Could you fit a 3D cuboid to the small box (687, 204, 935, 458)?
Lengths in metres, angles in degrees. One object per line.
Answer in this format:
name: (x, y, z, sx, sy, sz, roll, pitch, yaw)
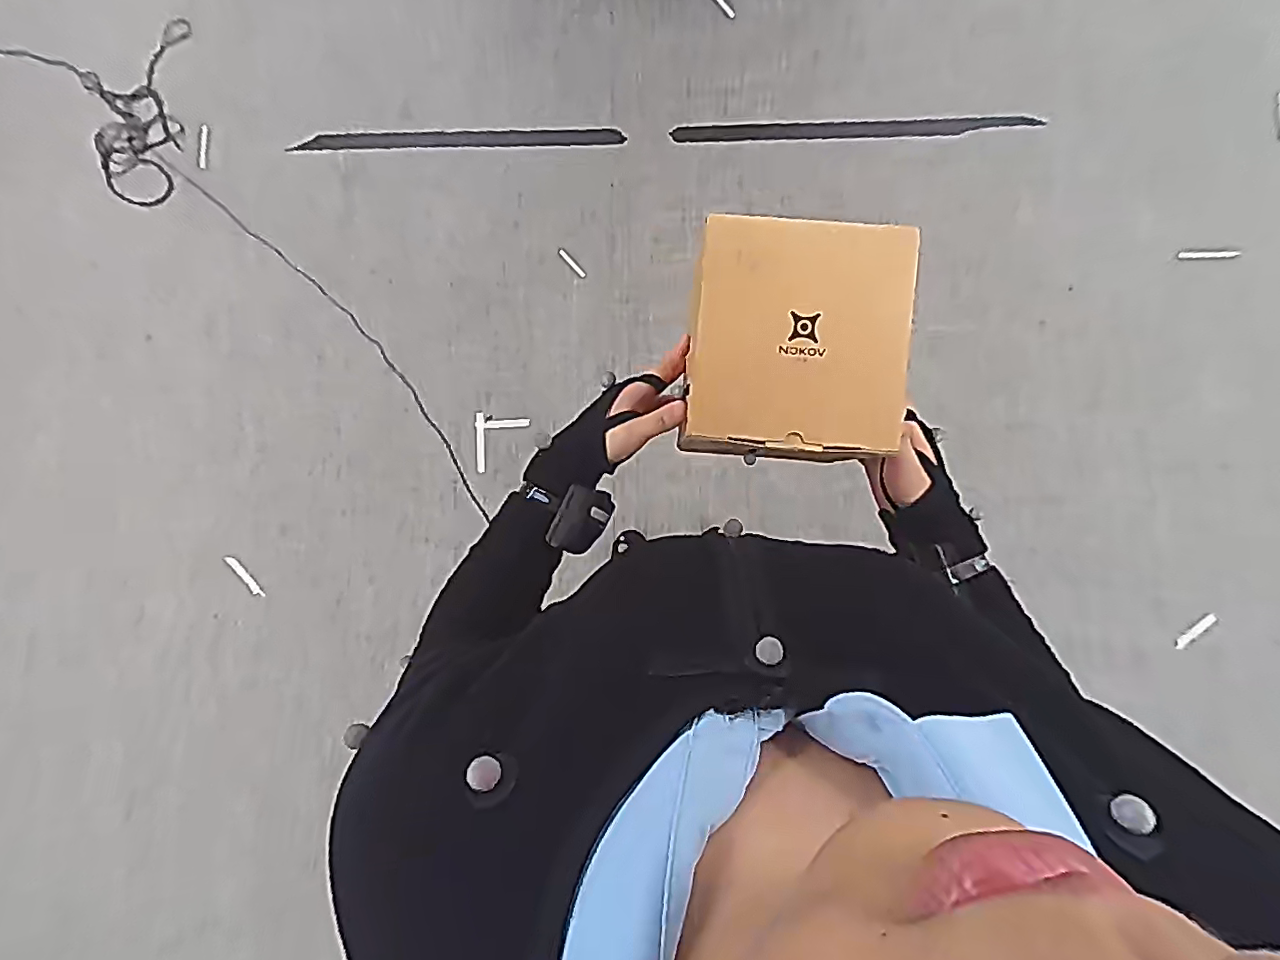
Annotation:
small box: (0.134, -0.115, 0.486, 0.168, 0.176, 0.179, 5, 91, 1)
